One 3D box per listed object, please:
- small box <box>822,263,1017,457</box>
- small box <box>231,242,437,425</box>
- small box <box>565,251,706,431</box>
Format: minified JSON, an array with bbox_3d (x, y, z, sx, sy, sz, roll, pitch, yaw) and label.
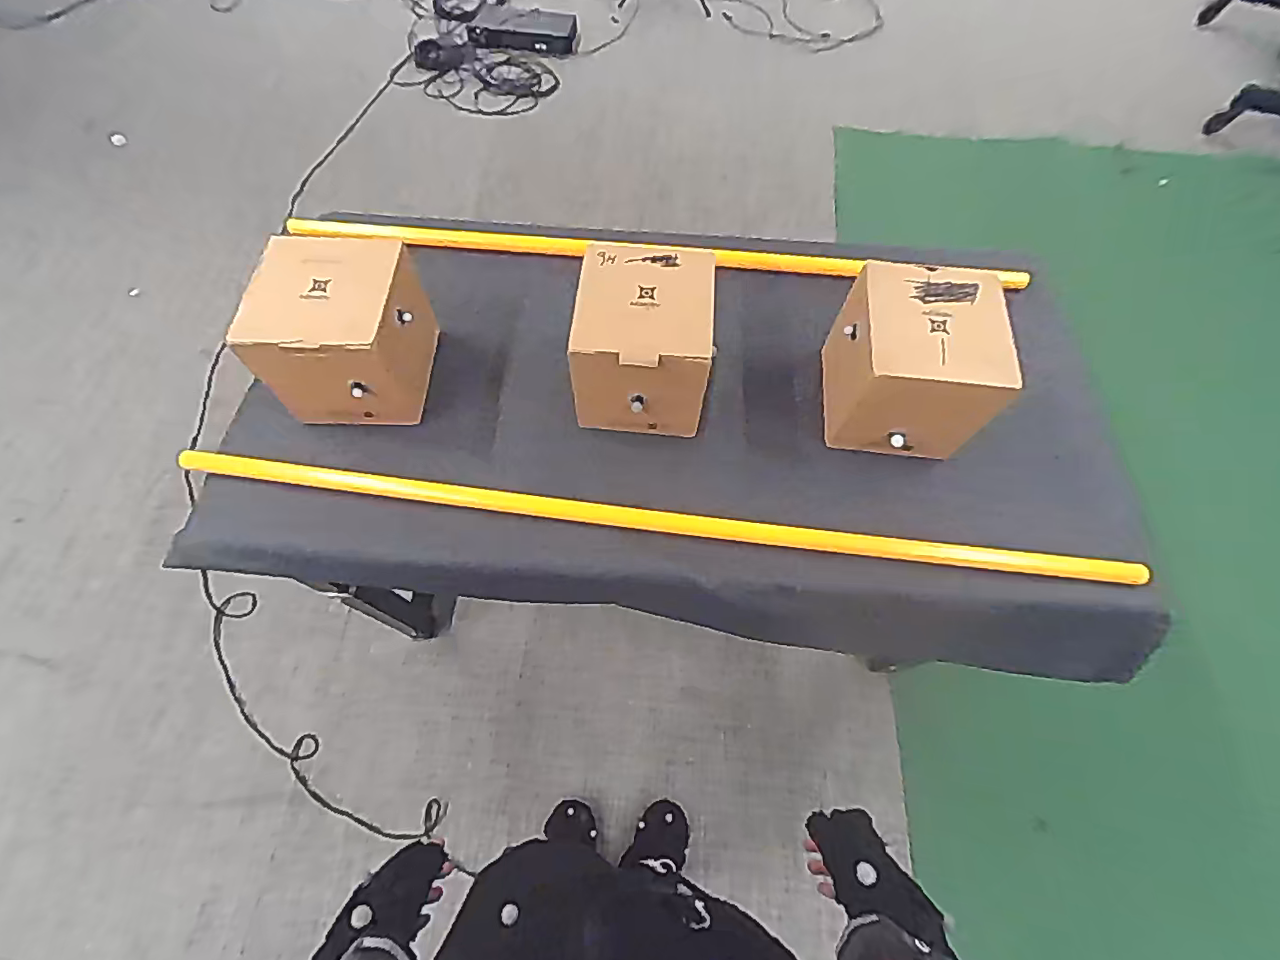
[{"bbox_3d":[0.345,-0.152,0.709,0.168,0.176,0.179,6,64,3],"label":"small box"},{"bbox_3d":[-0.385,-0.188,0.720,0.168,0.176,0.179,1,62,-2],"label":"small box"},{"bbox_3d":[0.001,-0.179,0.722,0.168,0.176,0.179,1,63,1],"label":"small box"}]
